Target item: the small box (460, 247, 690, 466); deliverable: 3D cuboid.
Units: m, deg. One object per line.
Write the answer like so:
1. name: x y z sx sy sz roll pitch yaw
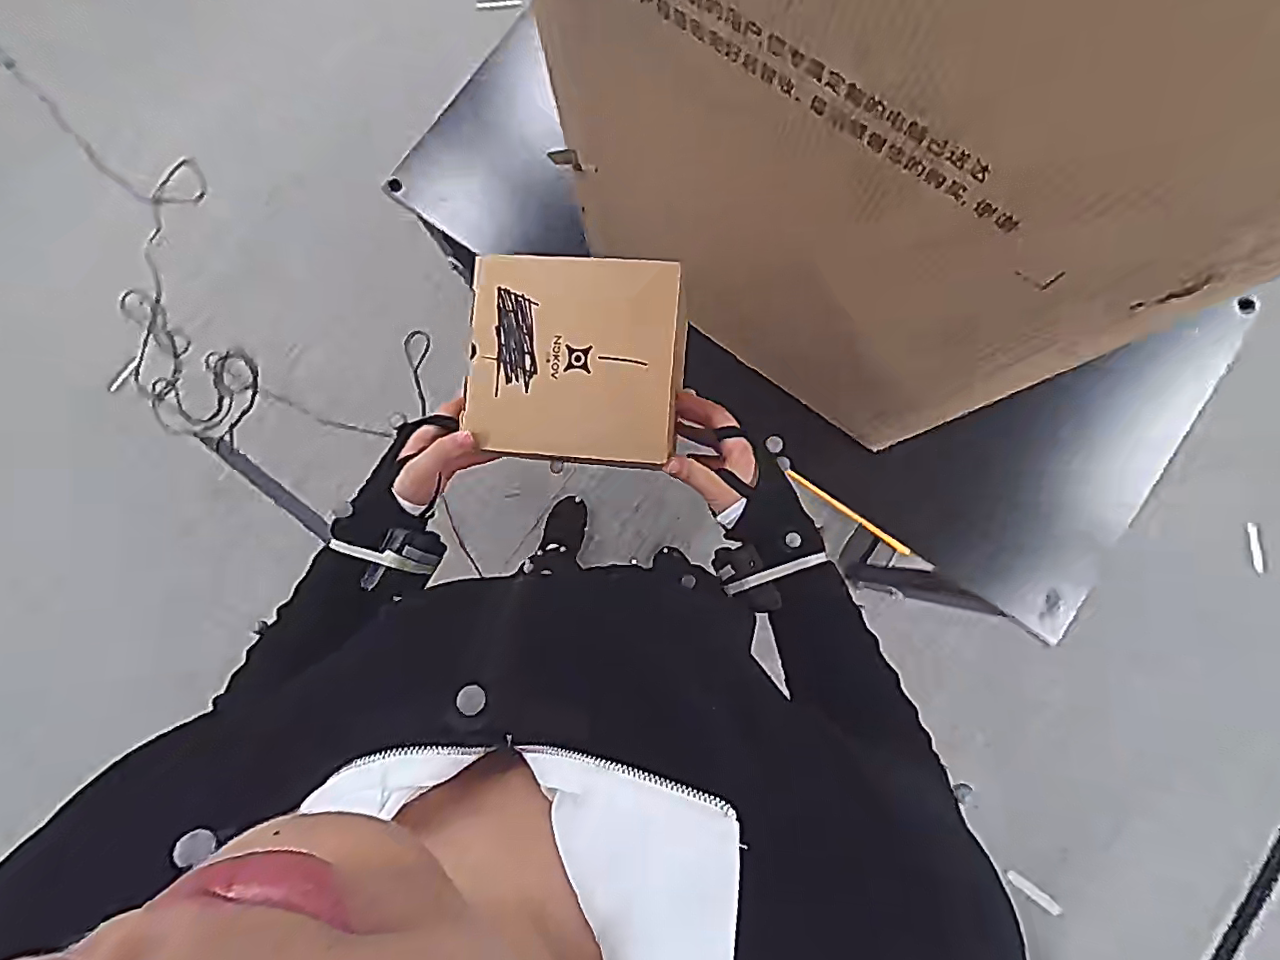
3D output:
1. small box: -0.048 -0.104 0.520 0.179 0.176 0.168 6 90 6
